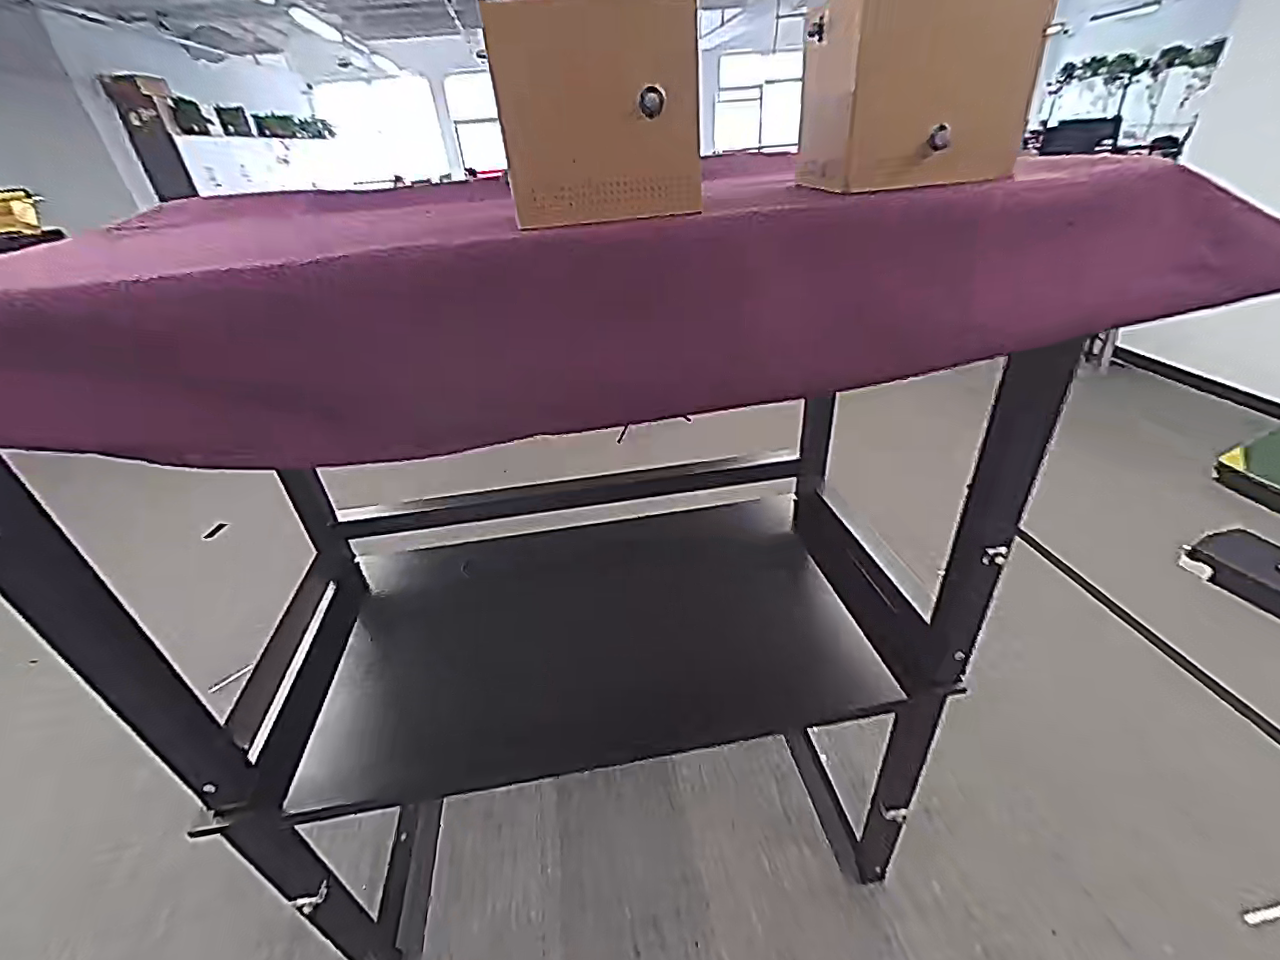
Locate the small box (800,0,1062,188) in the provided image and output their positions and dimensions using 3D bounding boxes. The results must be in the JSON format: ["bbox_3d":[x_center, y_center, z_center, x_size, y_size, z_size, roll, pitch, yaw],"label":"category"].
[{"bbox_3d":[0.278,-0.408,0.556,0.179,0.176,0.168,-6,31,-1],"label":"small box"}]

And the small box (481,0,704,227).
[{"bbox_3d":[-0.038,-0.354,0.524,0.179,0.176,0.168,-8,31,-3],"label":"small box"}]
